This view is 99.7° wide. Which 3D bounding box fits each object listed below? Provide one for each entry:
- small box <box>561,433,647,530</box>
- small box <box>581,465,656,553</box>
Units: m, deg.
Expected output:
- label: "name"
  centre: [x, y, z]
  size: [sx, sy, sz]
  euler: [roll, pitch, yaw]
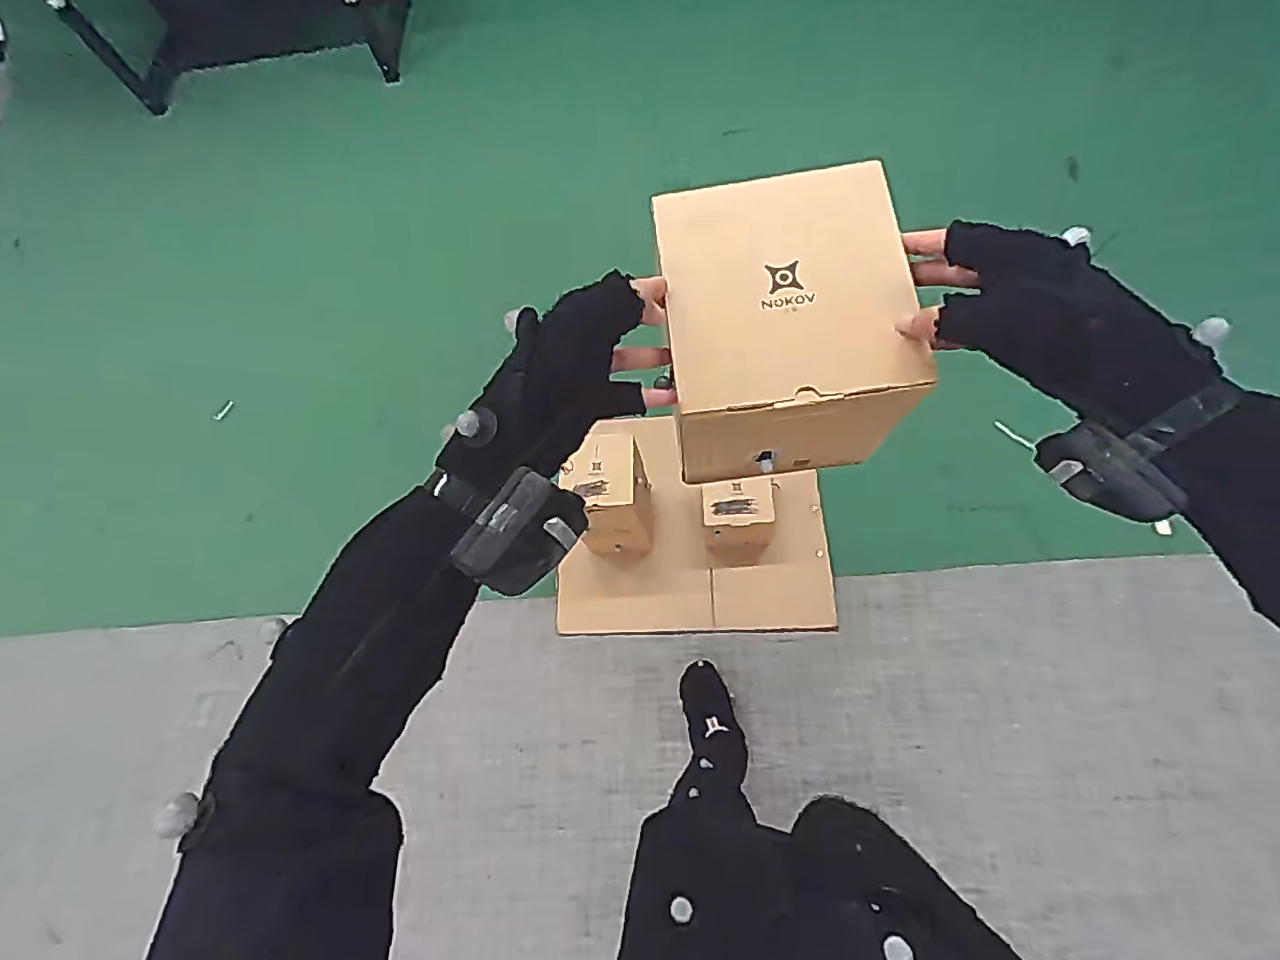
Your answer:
- label: "small box"
  centre: [-0.074, 0.012, 1.235]
  size: [0.168, 0.176, 0.179]
  euler: [-3, 66, 7]
- label: "small box"
  centre: [-0.050, 0.077, 1.384]
  size: [0.168, 0.176, 0.179]
  euler: [-5, 67, 7]
